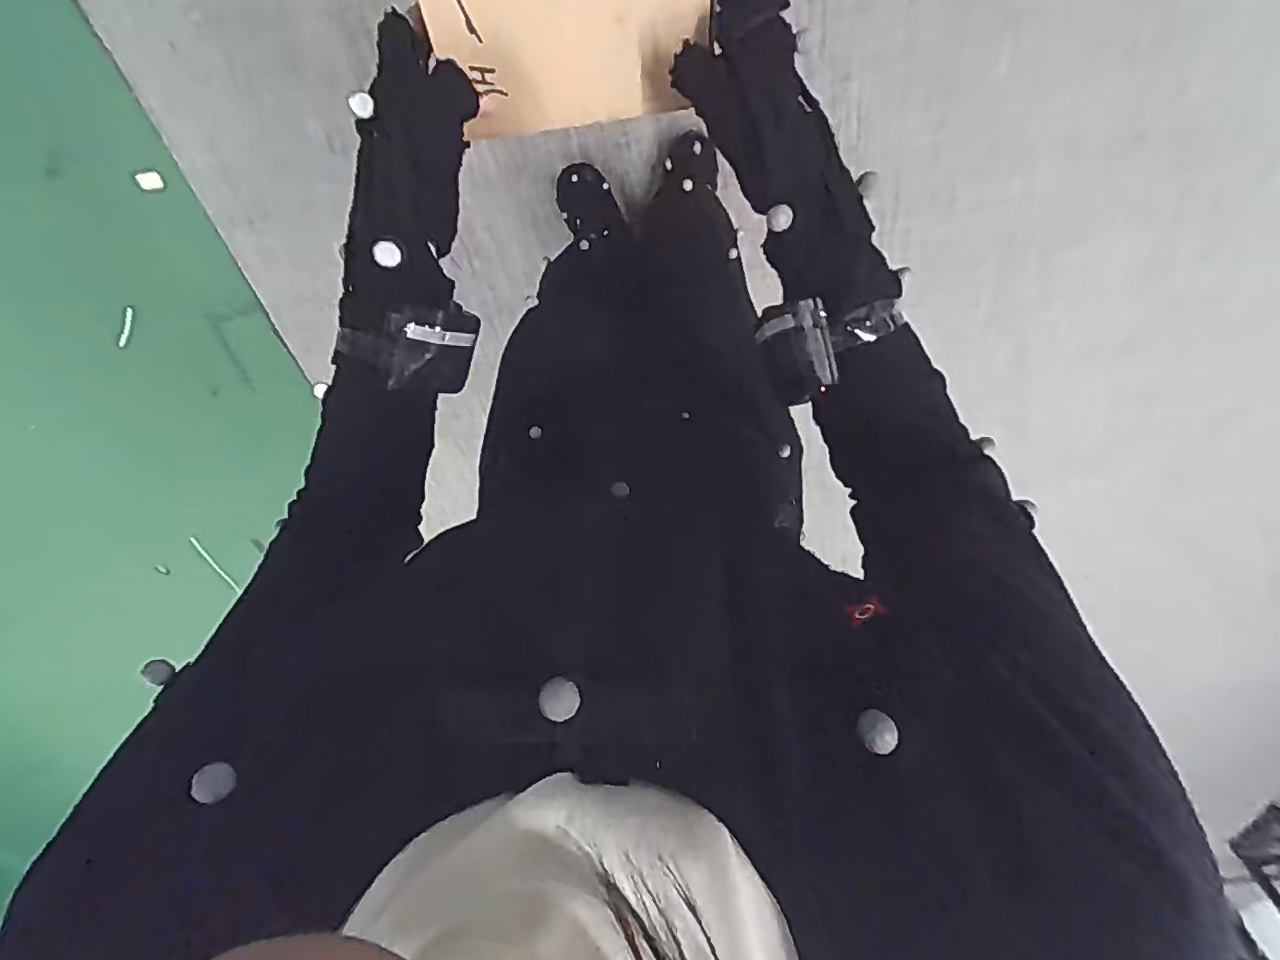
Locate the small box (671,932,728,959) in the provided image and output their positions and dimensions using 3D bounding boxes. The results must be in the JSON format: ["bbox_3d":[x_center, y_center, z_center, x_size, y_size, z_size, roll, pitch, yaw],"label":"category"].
[{"bbox_3d":[0.204,1.629,1.793,0.179,0.176,0.168,-10,127,8],"label":"small box"}]

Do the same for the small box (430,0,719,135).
[{"bbox_3d":[-0.049,-0.362,0.366,0.179,0.176,0.168,-8,138,0],"label":"small box"}]
